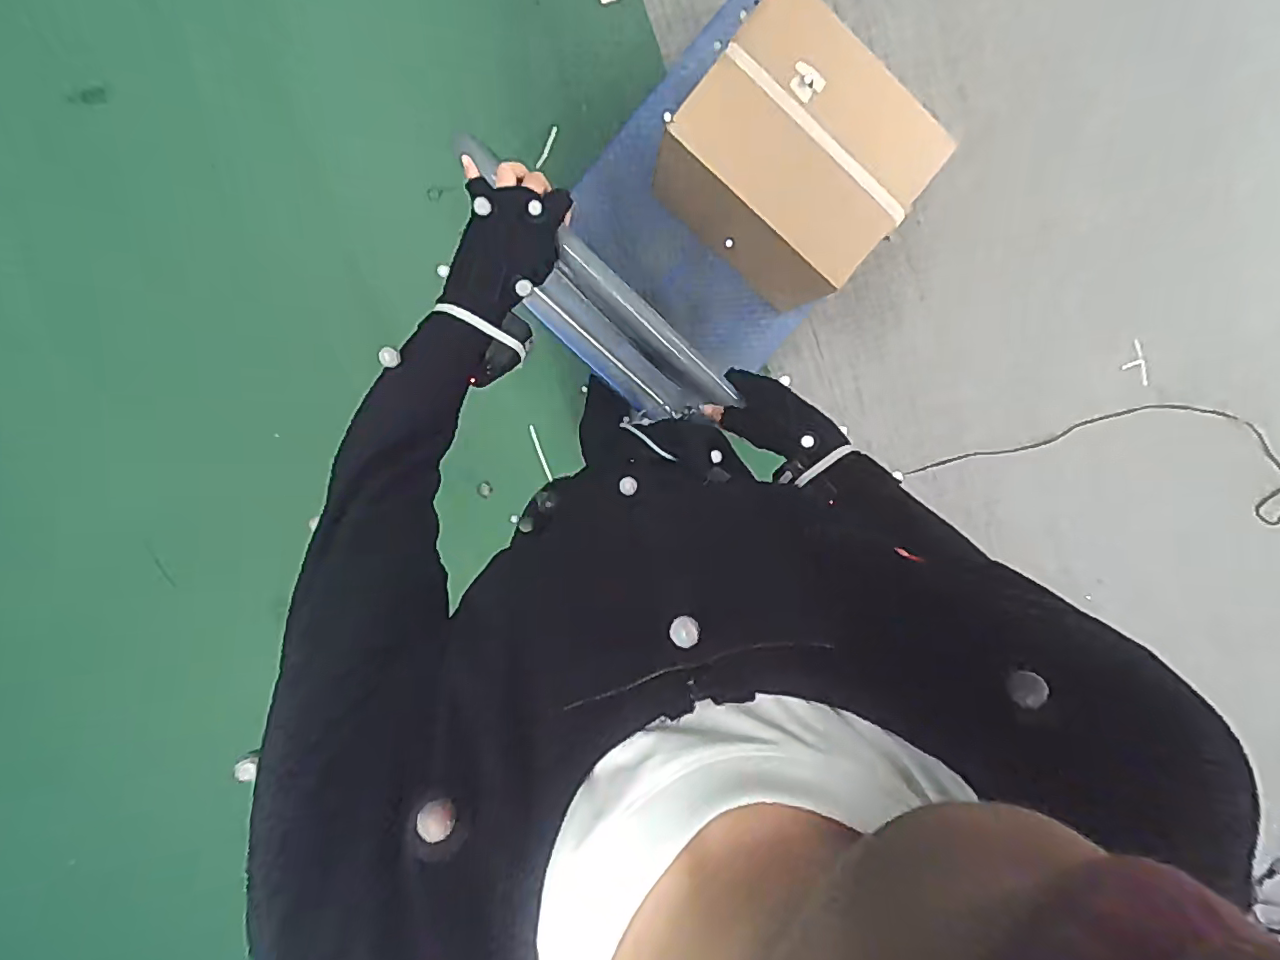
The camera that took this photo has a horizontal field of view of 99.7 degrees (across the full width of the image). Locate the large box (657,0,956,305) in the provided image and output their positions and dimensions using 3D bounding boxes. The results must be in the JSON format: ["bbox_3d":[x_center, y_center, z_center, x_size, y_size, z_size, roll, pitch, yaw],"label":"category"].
[{"bbox_3d":[0.288,-0.608,1.055,0.408,0.320,0.320,39,95,-8],"label":"large box"}]
